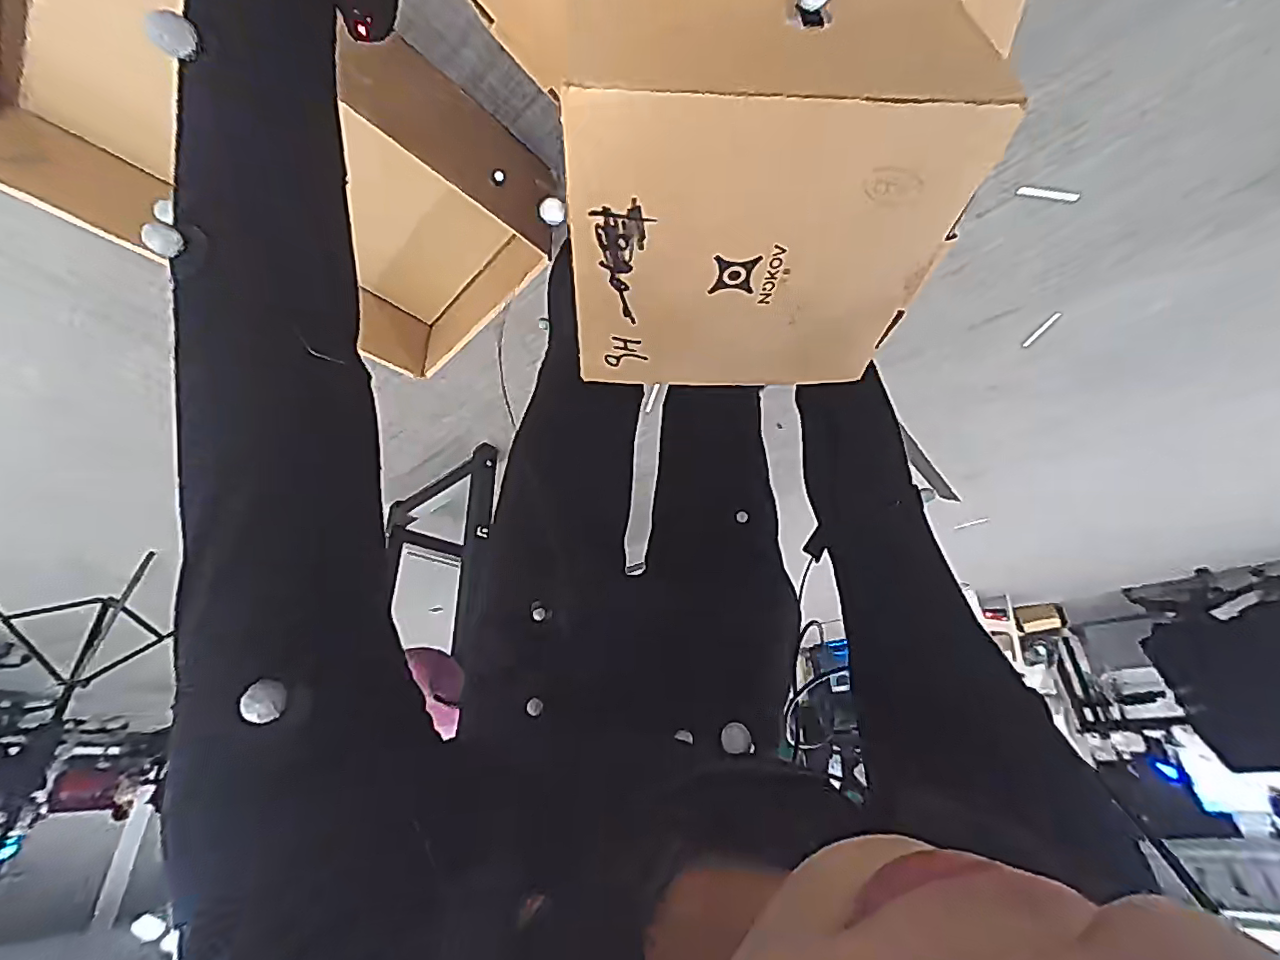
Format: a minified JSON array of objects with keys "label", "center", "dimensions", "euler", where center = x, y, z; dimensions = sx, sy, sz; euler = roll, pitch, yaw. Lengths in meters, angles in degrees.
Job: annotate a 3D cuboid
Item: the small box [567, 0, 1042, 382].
[{"label":"small box","center":[0.052,-0.171,0.294],"dimensions":[0.179,0.176,0.168],"euler":[-1,152,-3]}]
